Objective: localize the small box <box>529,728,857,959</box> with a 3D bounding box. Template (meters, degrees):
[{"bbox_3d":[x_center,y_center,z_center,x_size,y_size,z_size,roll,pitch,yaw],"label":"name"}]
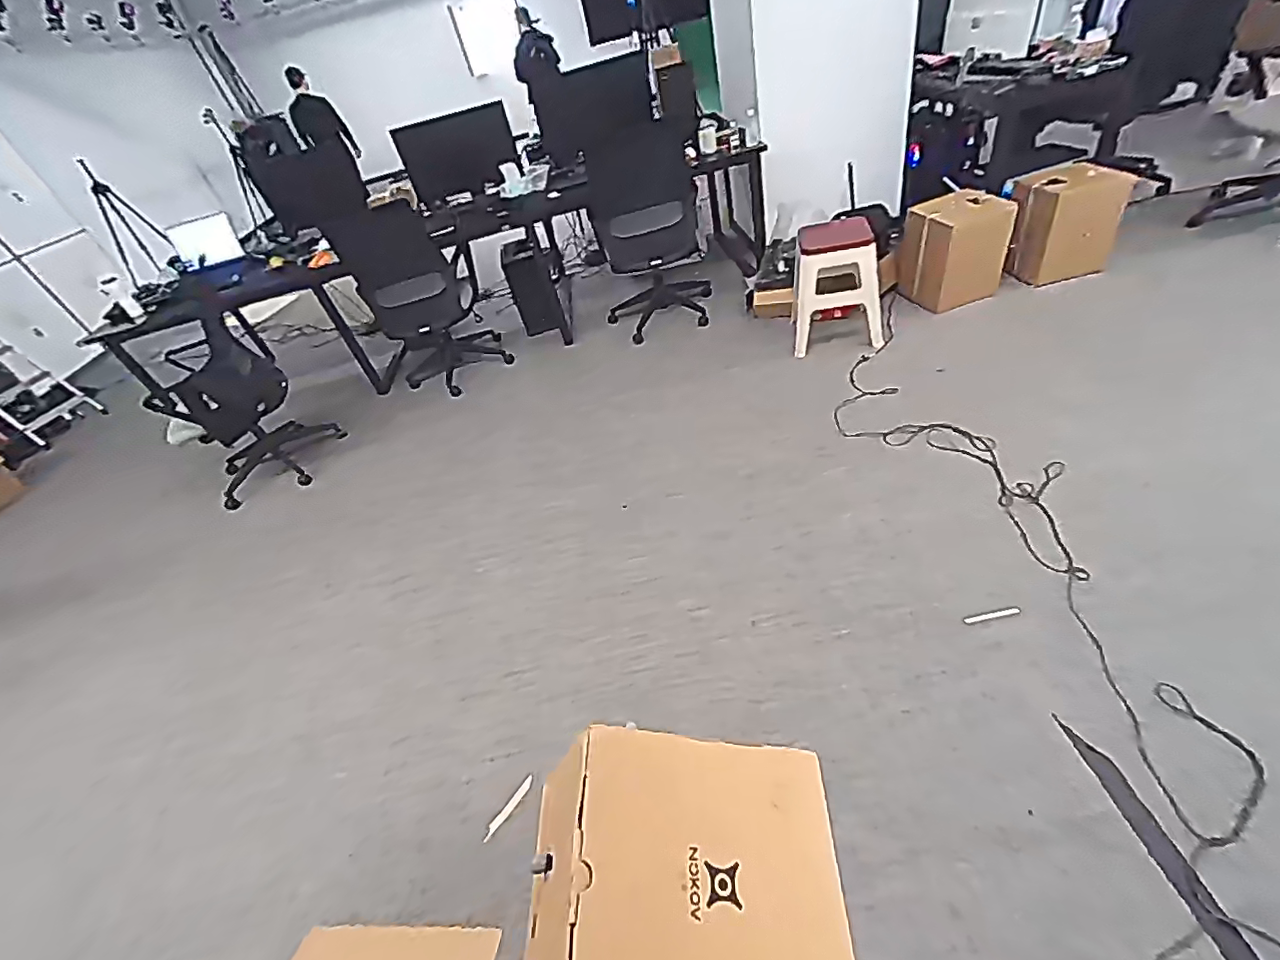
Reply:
[{"bbox_3d":[0.026,0.296,0.389,0.179,0.176,0.168,12,48,-12],"label":"small box"}]
